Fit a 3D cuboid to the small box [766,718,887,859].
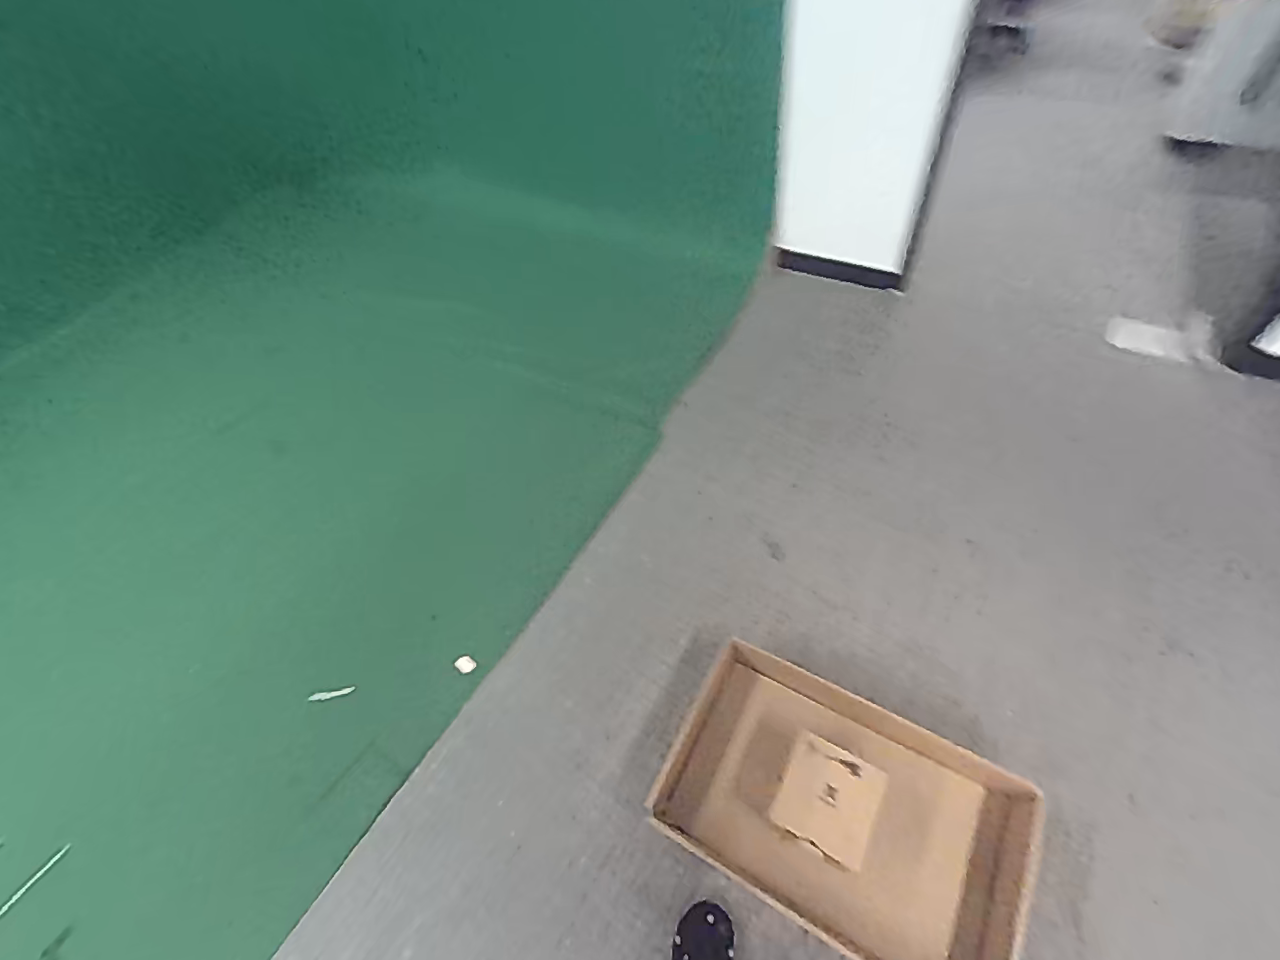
[{"bbox_3d":[0.361,0.605,1.064,0.168,0.176,0.179,23,64,24],"label":"small box"}]
